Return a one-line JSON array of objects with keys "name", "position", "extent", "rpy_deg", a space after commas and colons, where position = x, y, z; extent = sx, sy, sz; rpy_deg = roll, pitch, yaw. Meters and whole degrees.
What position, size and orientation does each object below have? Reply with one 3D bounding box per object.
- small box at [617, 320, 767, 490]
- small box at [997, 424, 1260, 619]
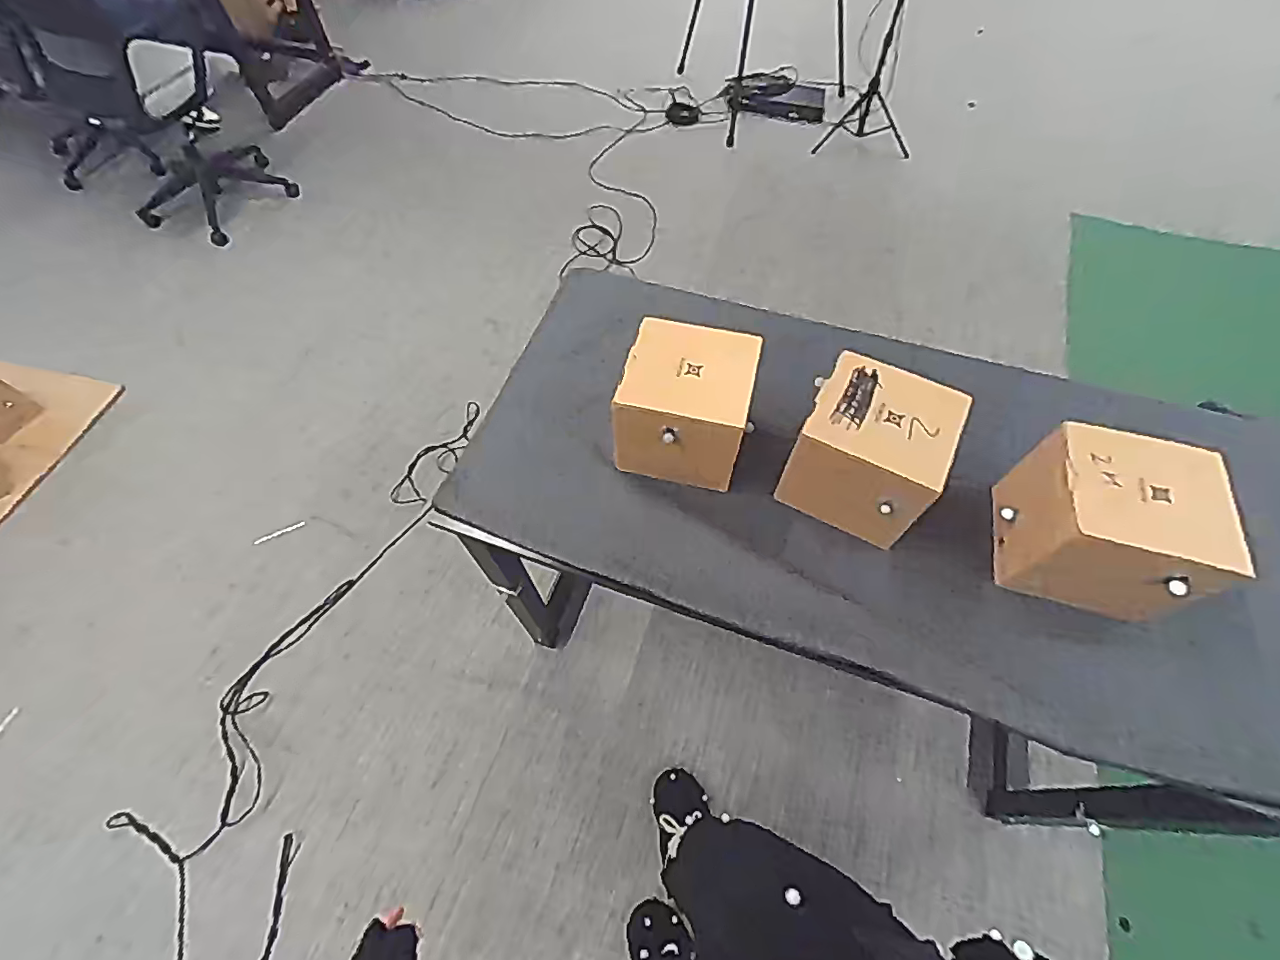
[{"name": "small box", "position": [0.075, -0.104, 0.798], "extent": [0.179, 0.176, 0.168], "rpy_deg": [12, 60, 8]}, {"name": "small box", "position": [0.591, 0.060, 0.684], "extent": [0.179, 0.176, 0.168], "rpy_deg": [15, 60, 10]}]
